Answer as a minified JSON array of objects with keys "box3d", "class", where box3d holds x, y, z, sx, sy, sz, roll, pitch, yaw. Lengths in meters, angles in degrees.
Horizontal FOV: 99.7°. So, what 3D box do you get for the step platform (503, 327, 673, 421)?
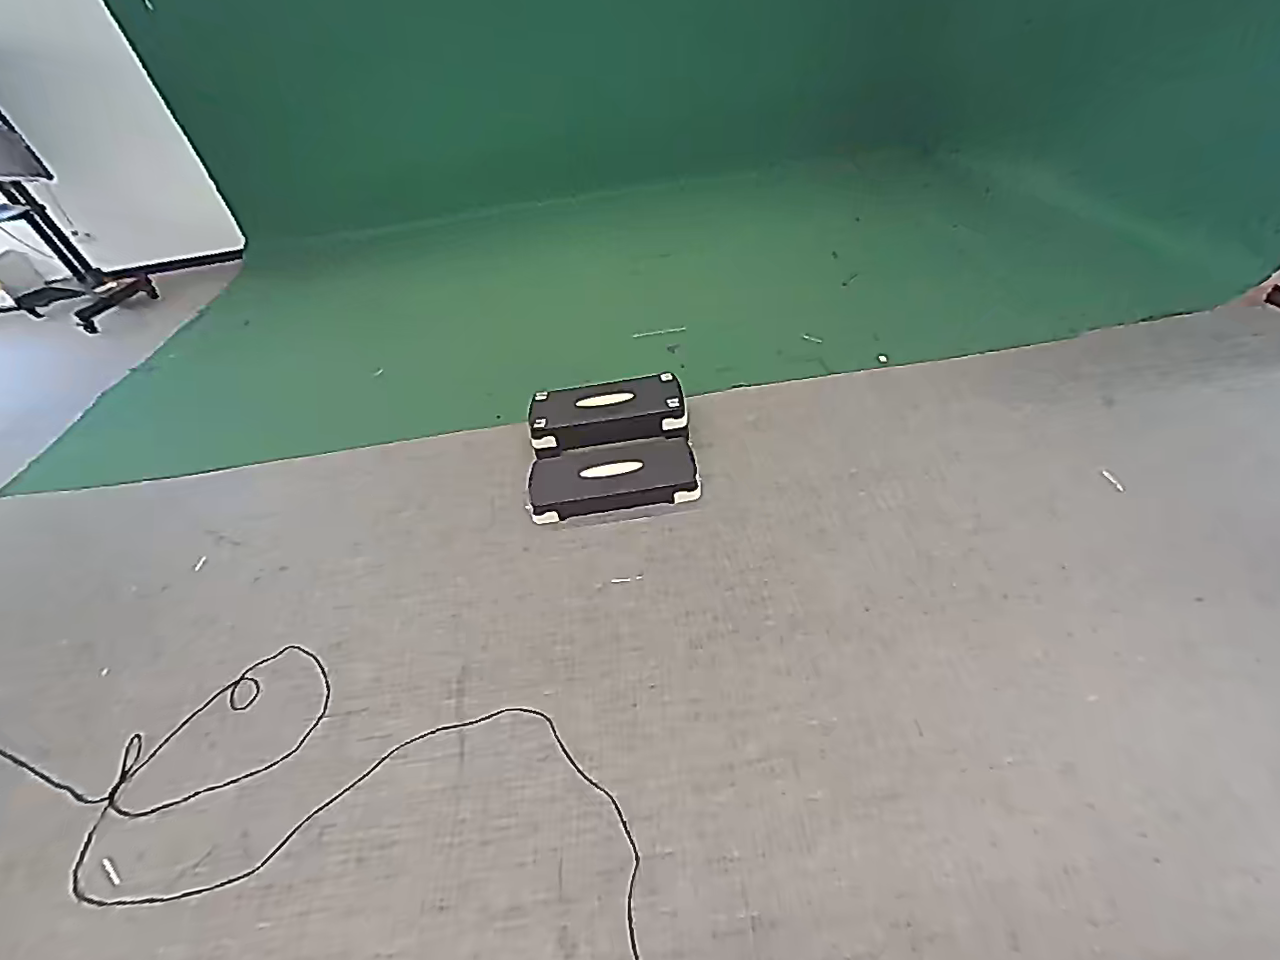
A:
[{"box3d":[-0.206,-0.441,2.244,0.684,0.204,0.286,-9,44,1],"class":"step platform"}]
